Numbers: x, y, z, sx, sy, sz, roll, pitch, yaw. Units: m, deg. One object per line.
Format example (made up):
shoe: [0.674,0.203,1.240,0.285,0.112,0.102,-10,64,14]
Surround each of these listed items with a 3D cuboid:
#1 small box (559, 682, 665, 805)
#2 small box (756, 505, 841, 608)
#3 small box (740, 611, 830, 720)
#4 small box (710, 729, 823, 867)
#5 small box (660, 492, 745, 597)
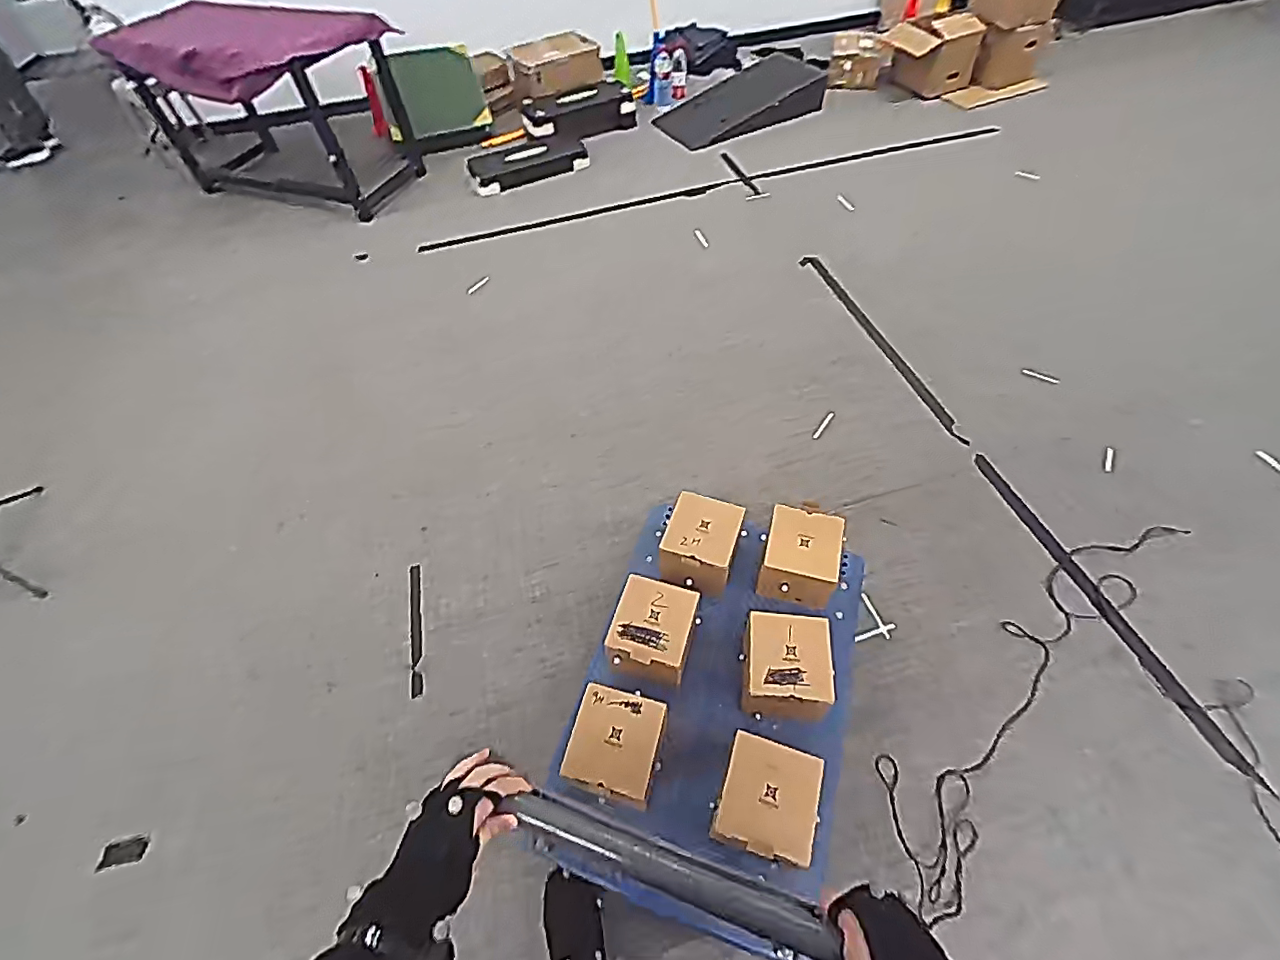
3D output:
small box: [-0.047,0.540,1.098,0.168,0.176,0.179,12,56,11]
small box: [0.384,0.193,1.326,0.168,0.176,0.179,12,56,12]
small box: [0.309,0.407,1.175,0.168,0.176,0.179,5,54,7]
small box: [0.235,0.610,1.034,0.168,0.176,0.179,16,56,13]
small box: [0.153,0.163,1.357,0.168,0.176,0.179,16,57,14]
